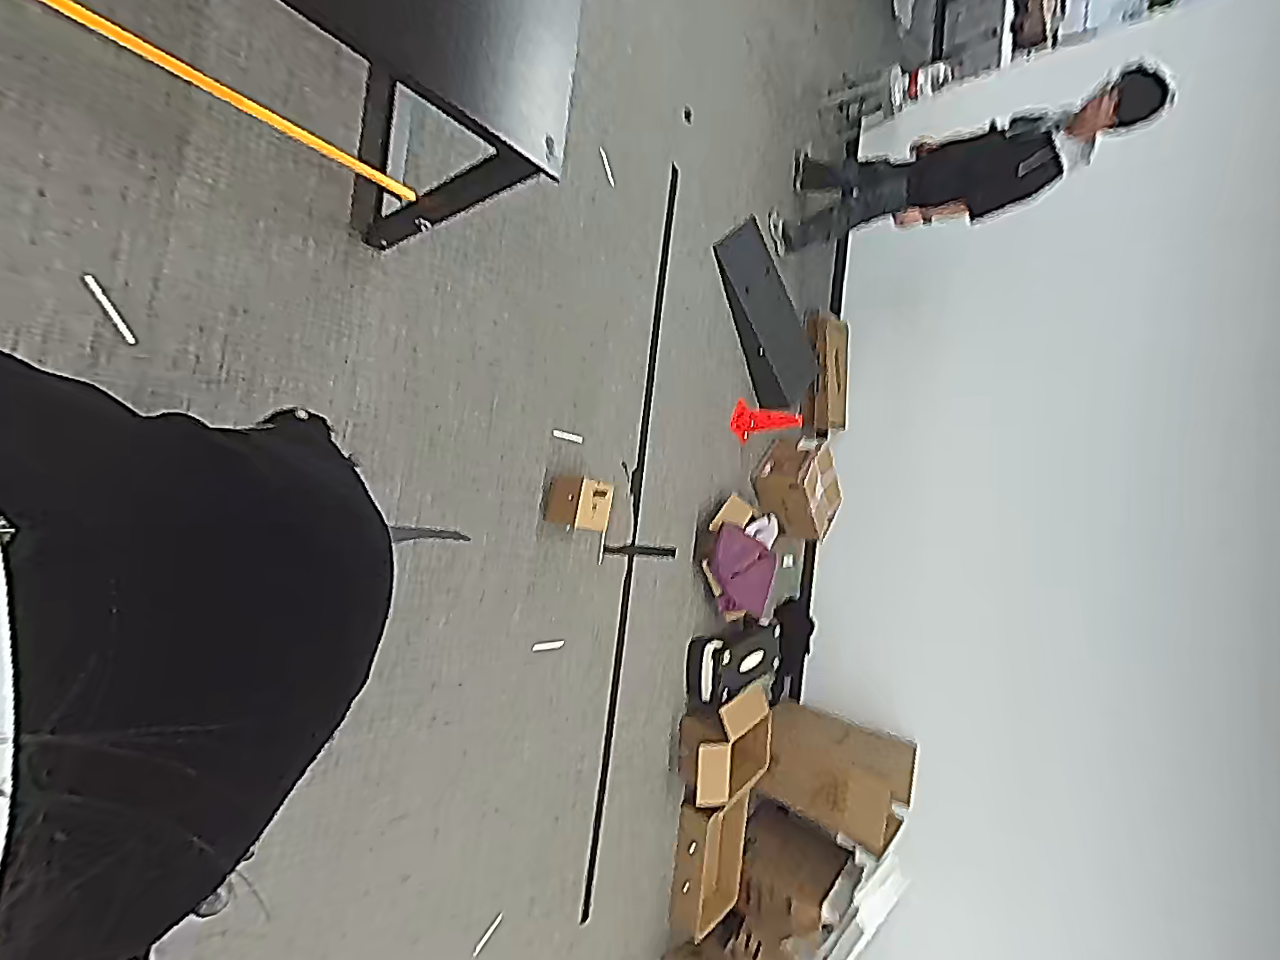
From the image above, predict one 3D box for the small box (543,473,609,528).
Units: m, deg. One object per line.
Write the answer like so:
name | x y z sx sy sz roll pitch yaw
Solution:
small box | -0.241 0.075 2.016 0.168 0.176 0.179 16 81 -49
